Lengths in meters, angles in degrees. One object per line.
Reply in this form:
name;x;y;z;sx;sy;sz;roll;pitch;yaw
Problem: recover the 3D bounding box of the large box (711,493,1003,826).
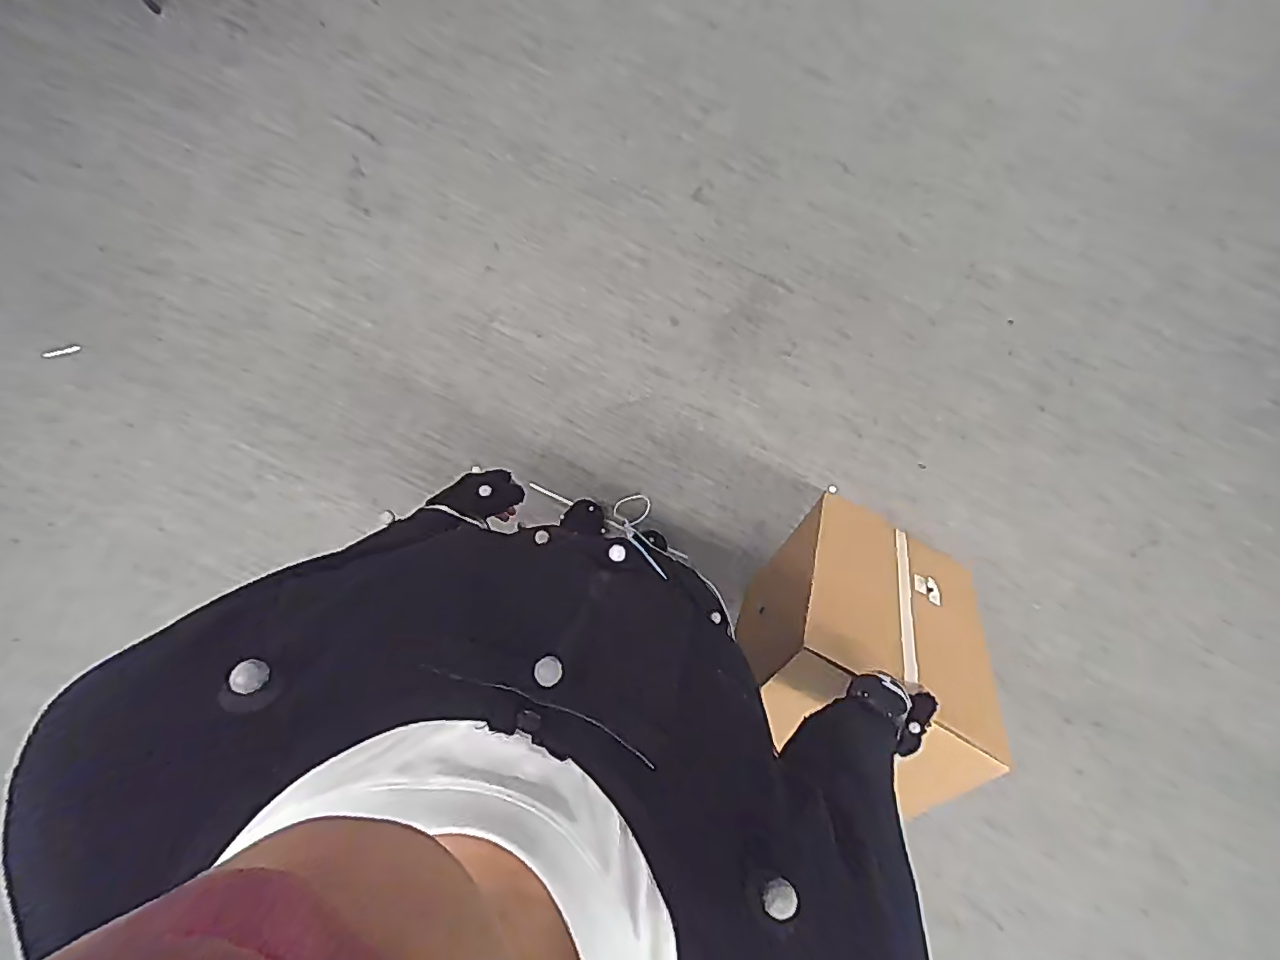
large box;0.363;0.304;0.972;0.320;0.408;0.320;31;127;3
